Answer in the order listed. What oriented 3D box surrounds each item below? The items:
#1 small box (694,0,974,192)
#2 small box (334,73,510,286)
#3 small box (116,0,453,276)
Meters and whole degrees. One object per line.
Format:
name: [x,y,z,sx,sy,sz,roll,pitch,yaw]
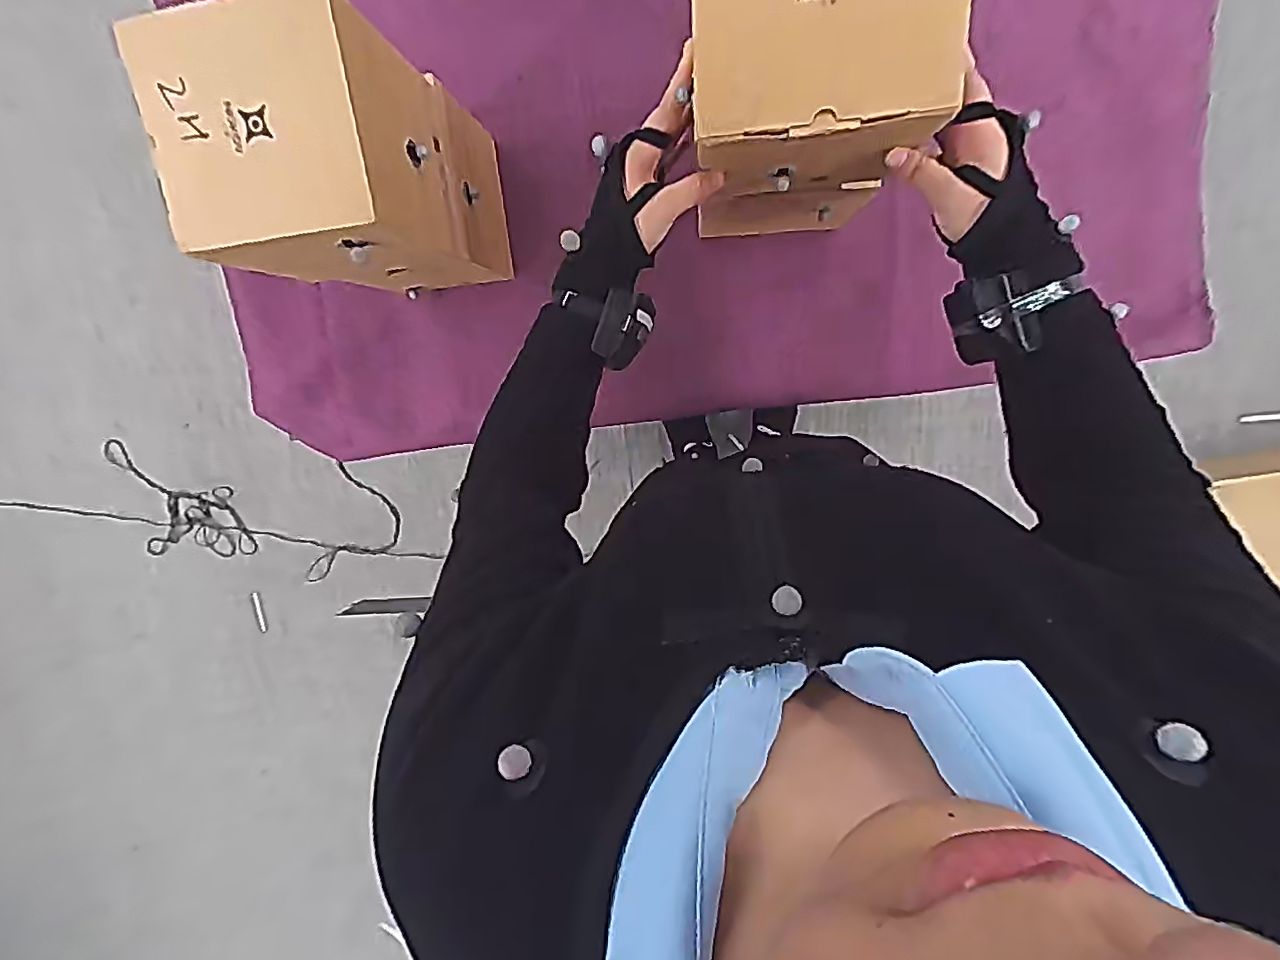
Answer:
small box: [0.124,-0.333,0.397,0.168,0.176,0.179,-2,107,9]
small box: [-0.267,-0.333,0.642,0.168,0.176,0.179,-5,102,7]
small box: [-0.286,-0.288,0.484,0.179,0.176,0.168,-5,102,7]
